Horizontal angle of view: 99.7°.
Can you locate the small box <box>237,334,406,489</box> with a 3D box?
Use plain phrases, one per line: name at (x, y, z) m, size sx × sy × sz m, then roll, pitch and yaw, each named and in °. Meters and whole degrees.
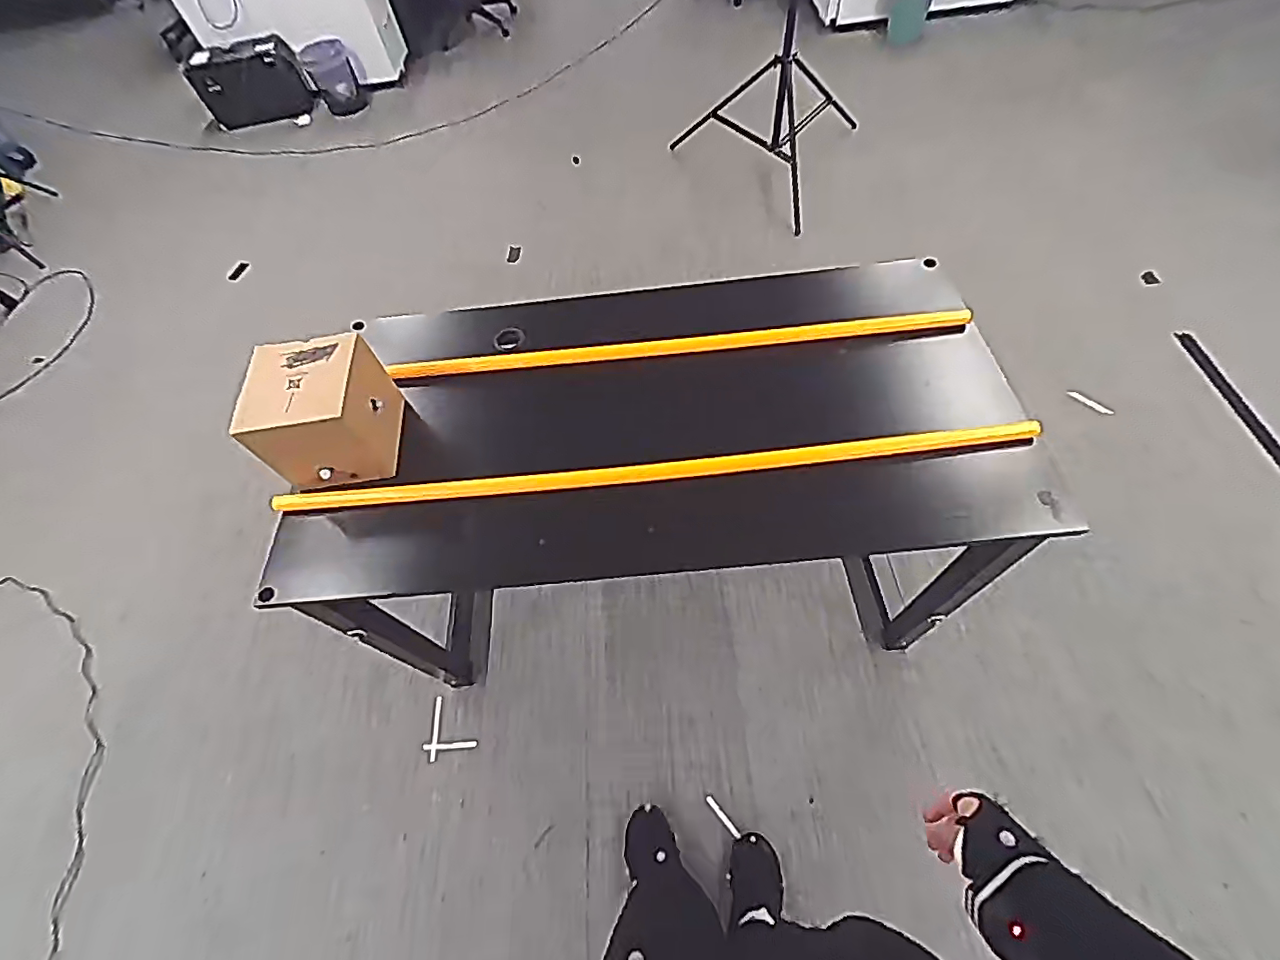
small box at (-0.503, -0.109, 0.888) m, size 0.168 × 0.176 × 0.179 m, roll -9°, pitch 59°, yaw 0°
